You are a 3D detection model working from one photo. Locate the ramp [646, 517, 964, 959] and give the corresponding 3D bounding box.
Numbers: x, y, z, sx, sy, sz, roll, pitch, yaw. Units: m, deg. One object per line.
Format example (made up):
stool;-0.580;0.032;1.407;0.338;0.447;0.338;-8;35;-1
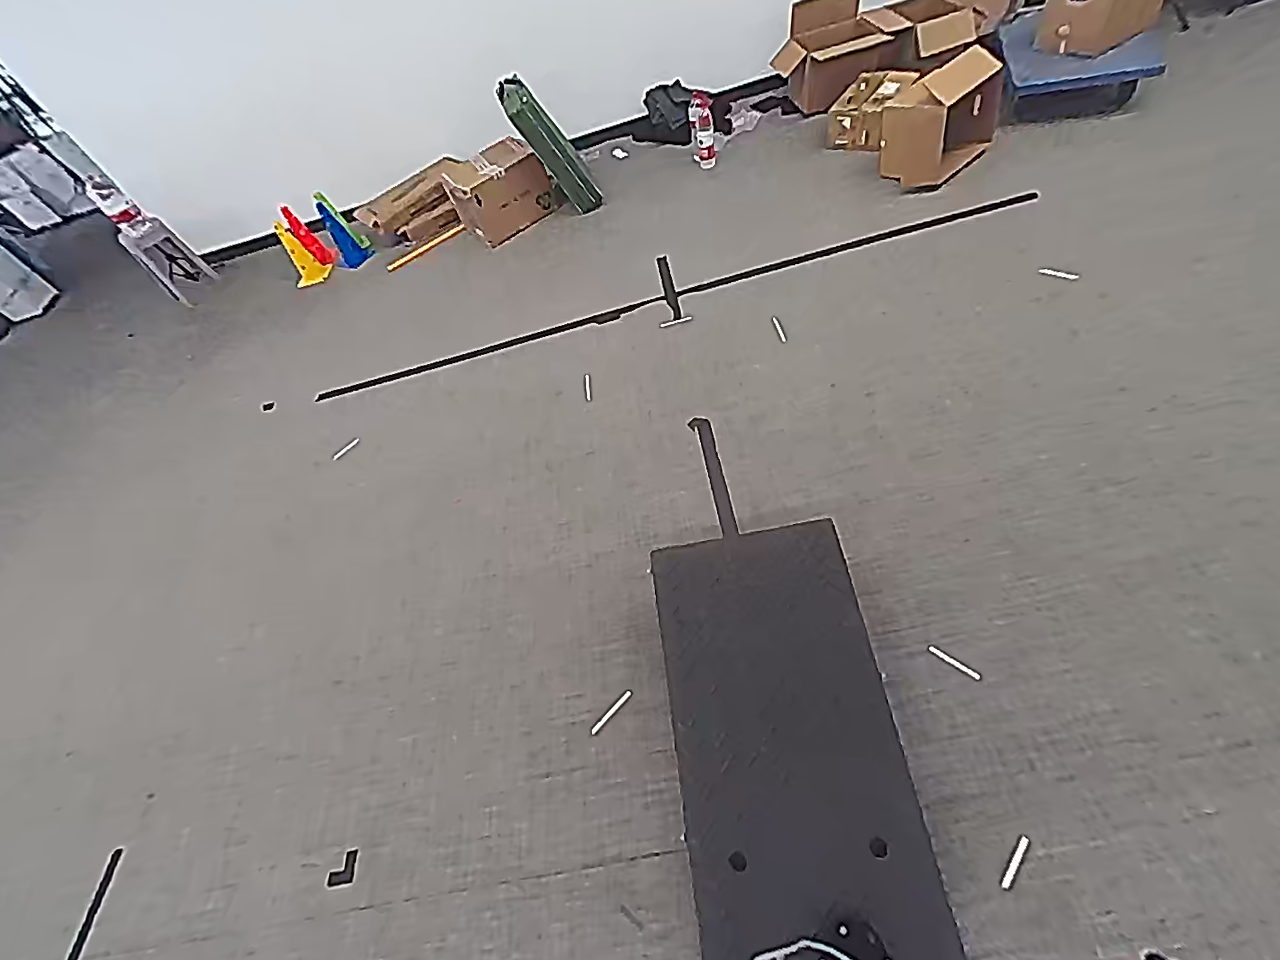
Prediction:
ramp;0.315;0.582;1.214;0.509;0.206;0.991;-12;52;6
